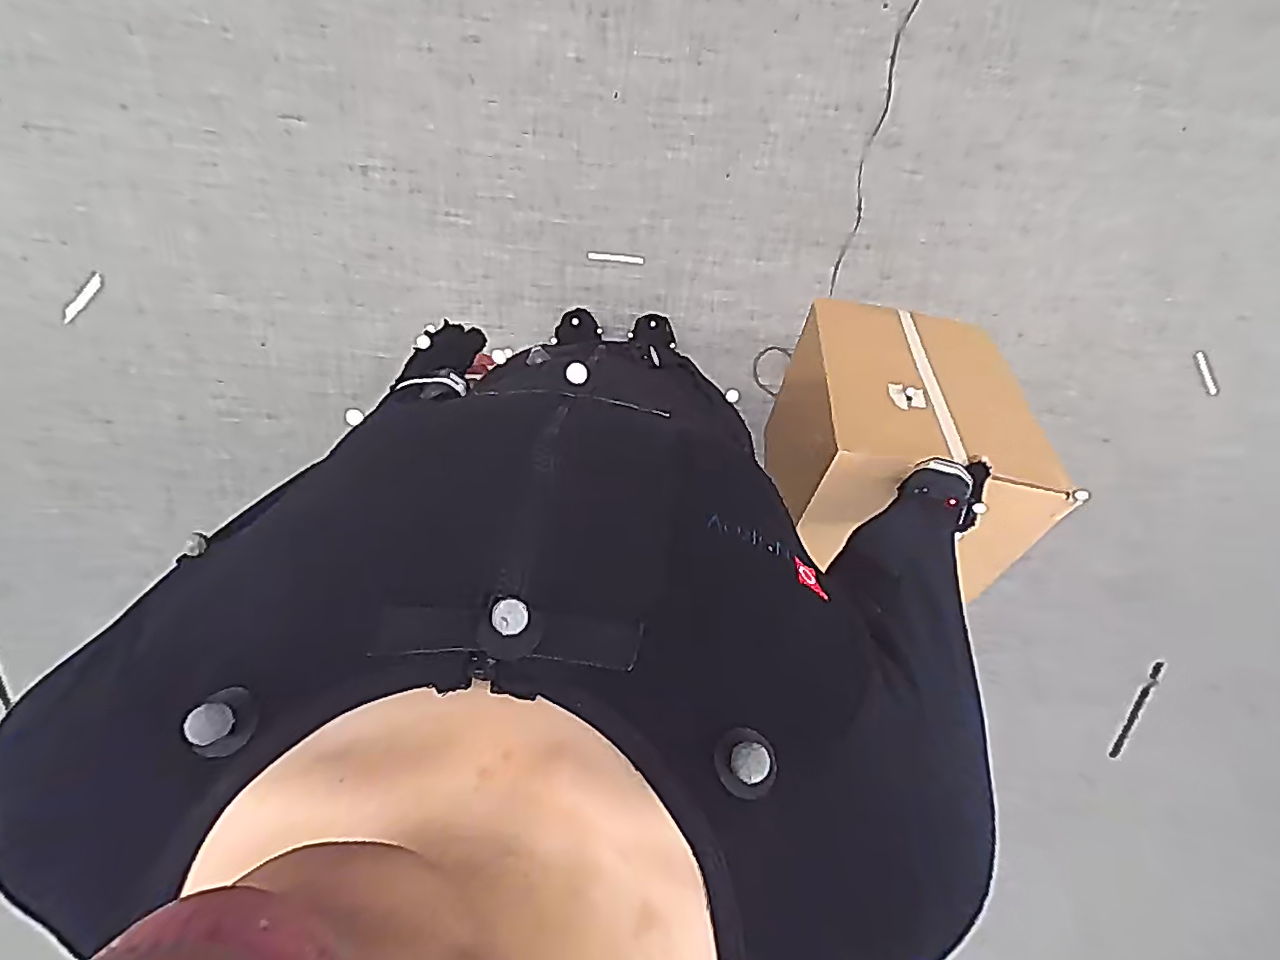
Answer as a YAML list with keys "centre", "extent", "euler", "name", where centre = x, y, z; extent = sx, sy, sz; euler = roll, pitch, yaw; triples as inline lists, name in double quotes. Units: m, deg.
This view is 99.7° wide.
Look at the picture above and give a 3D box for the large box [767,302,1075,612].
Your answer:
- centre: [0.419, -0.044, 0.936]
  extent: [0.320, 0.408, 0.320]
  euler: [11, 138, 1]
  name: "large box"
